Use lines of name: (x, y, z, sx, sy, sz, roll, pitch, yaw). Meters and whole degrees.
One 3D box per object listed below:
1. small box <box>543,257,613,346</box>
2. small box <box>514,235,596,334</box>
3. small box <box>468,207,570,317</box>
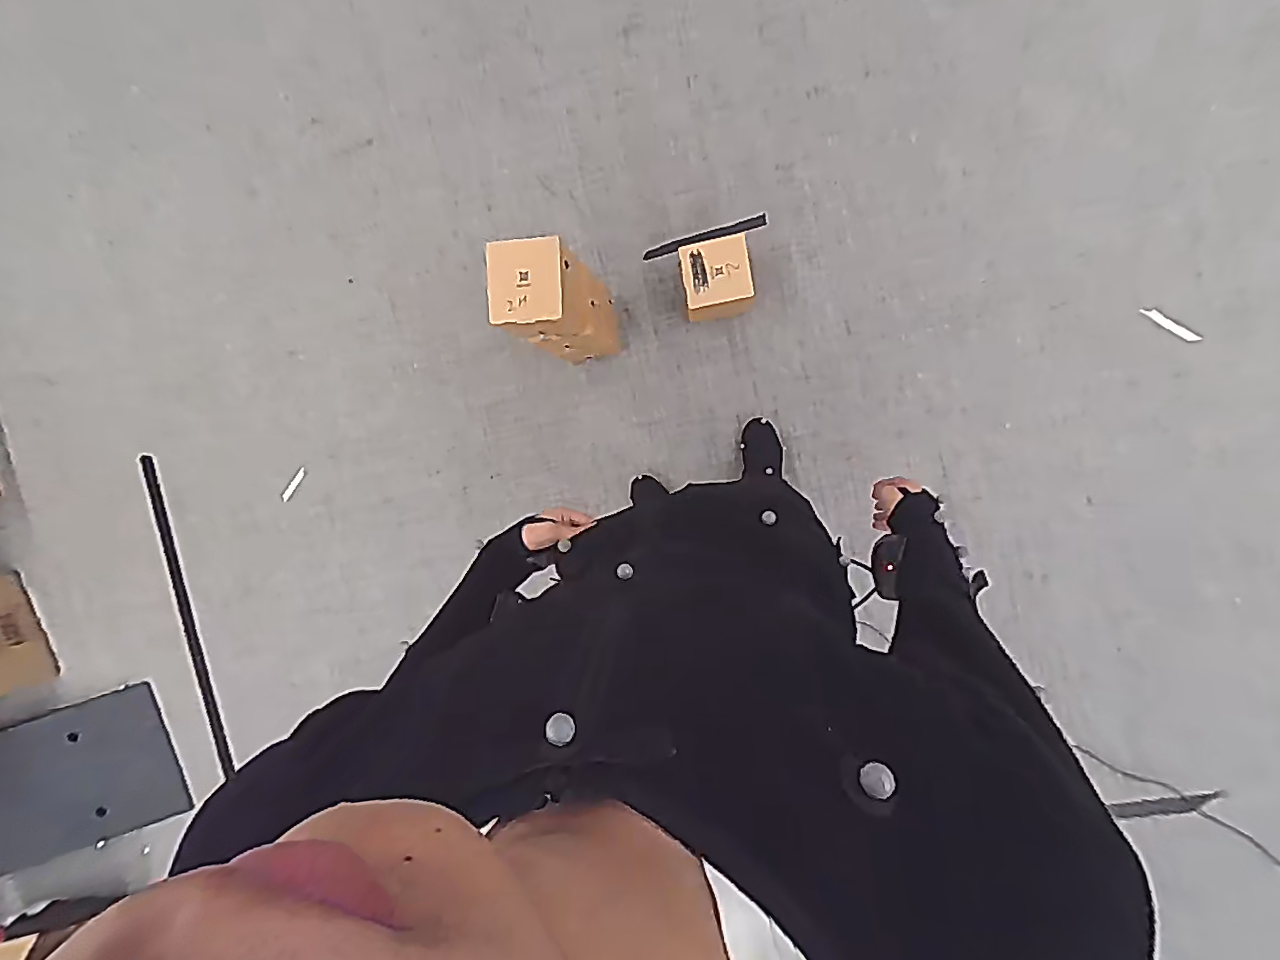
small box: (-0.178, -0.478, 1.471, 0.168, 0.176, 0.179, -10, 94, 9)
small box: (-0.210, -0.465, 1.313, 0.168, 0.176, 0.179, -7, 95, 9)
small box: (-0.251, -0.456, 1.153, 0.168, 0.176, 0.179, -1, 96, 9)
